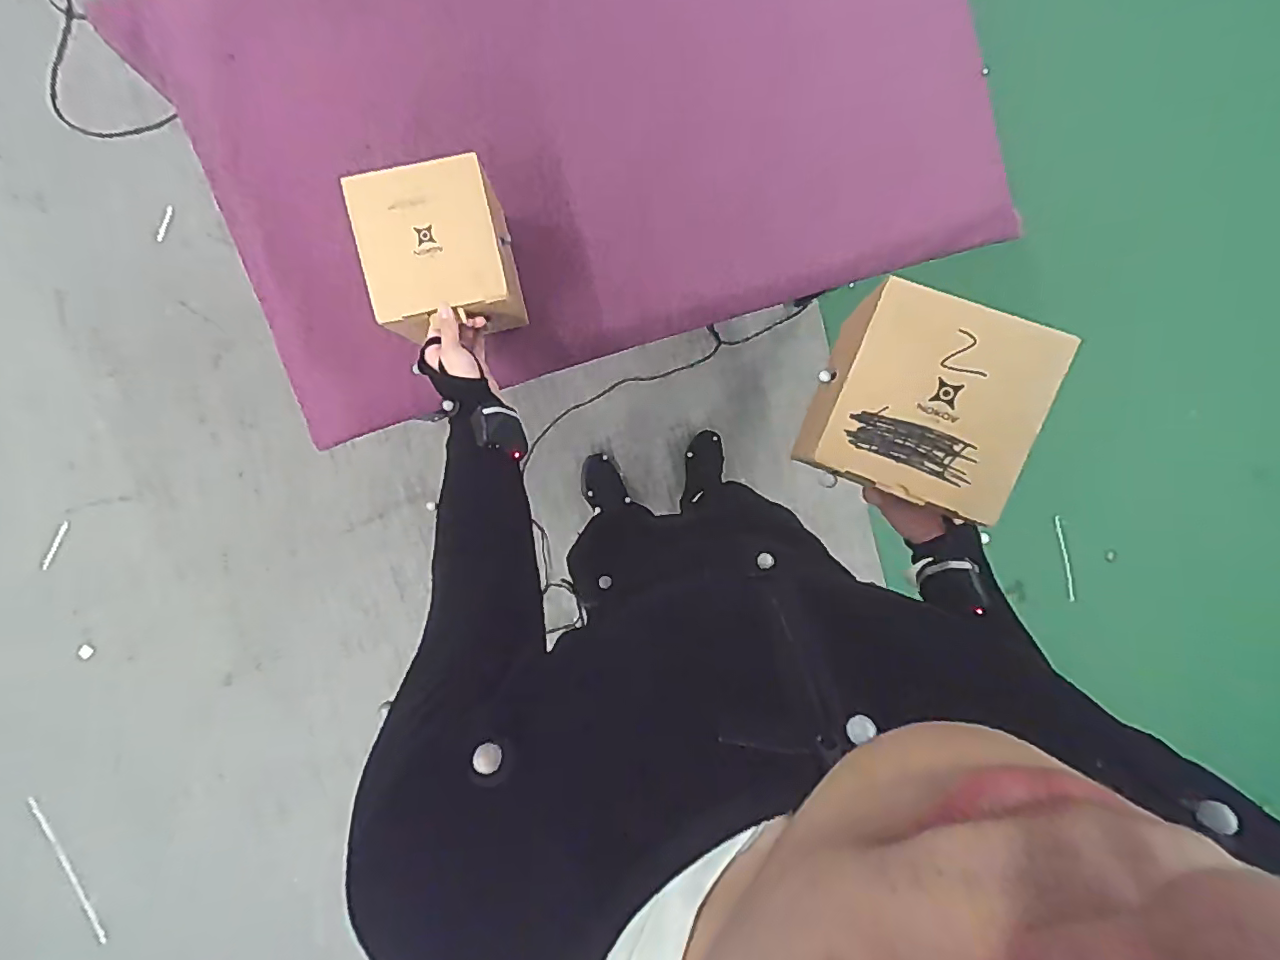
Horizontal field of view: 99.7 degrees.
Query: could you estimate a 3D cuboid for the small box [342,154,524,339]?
[{"bbox_3d":[-0.262,-0.297,0.729,0.168,0.176,0.179,-12,95,-3],"label":"small box"}]
